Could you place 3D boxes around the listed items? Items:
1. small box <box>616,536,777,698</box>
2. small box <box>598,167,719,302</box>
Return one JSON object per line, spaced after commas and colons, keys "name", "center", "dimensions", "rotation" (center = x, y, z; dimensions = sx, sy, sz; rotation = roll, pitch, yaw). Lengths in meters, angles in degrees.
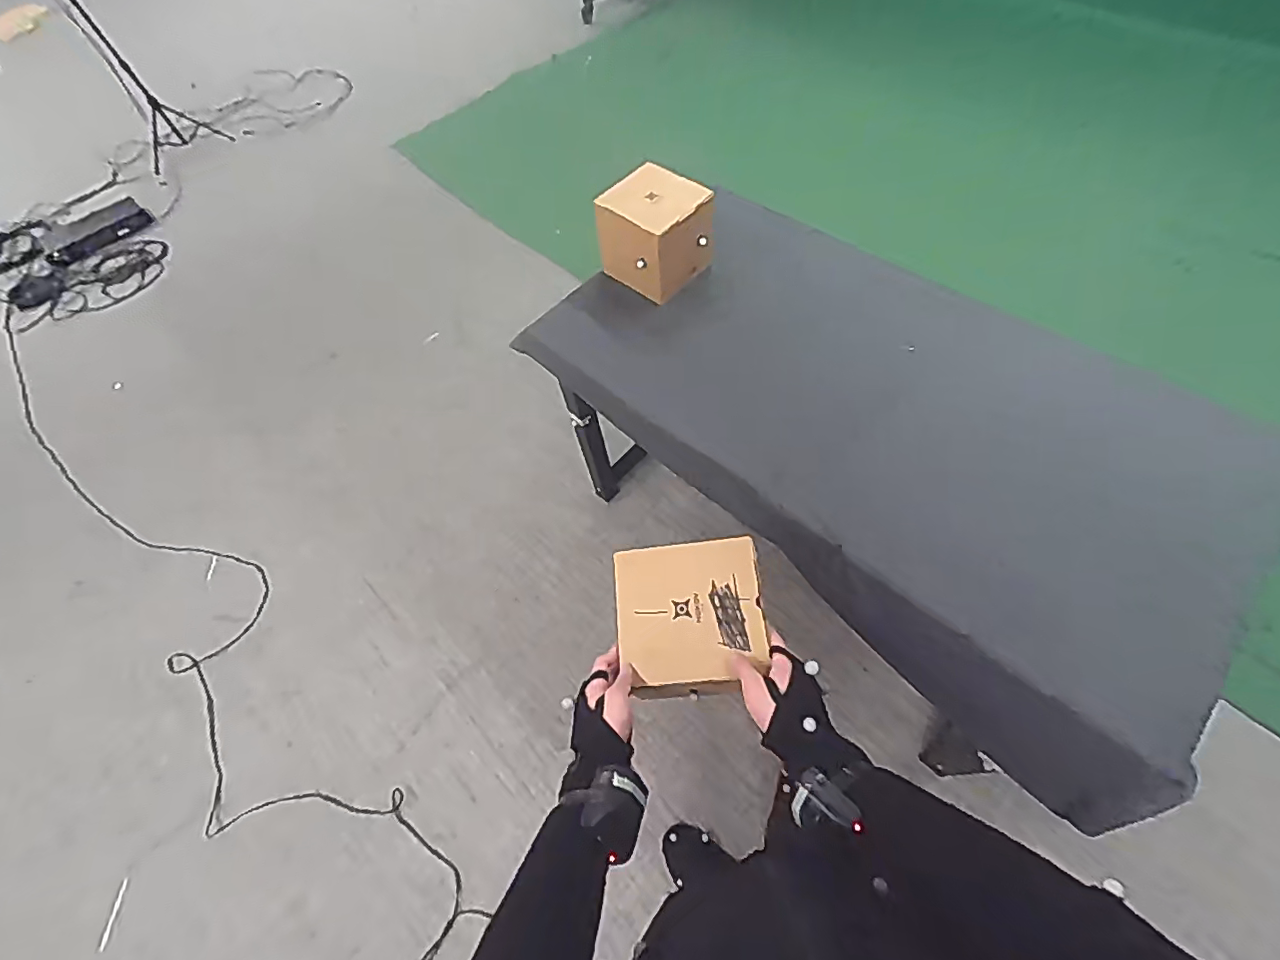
{"name": "small box", "center": [0.068, 0.183, 0.697], "dimensions": [0.179, 0.176, 0.168], "rotation": [-6, 62, 5]}
{"name": "small box", "center": [0.040, -0.493, 1.104], "dimensions": [0.179, 0.176, 0.168], "rotation": [37, 67, 24]}
